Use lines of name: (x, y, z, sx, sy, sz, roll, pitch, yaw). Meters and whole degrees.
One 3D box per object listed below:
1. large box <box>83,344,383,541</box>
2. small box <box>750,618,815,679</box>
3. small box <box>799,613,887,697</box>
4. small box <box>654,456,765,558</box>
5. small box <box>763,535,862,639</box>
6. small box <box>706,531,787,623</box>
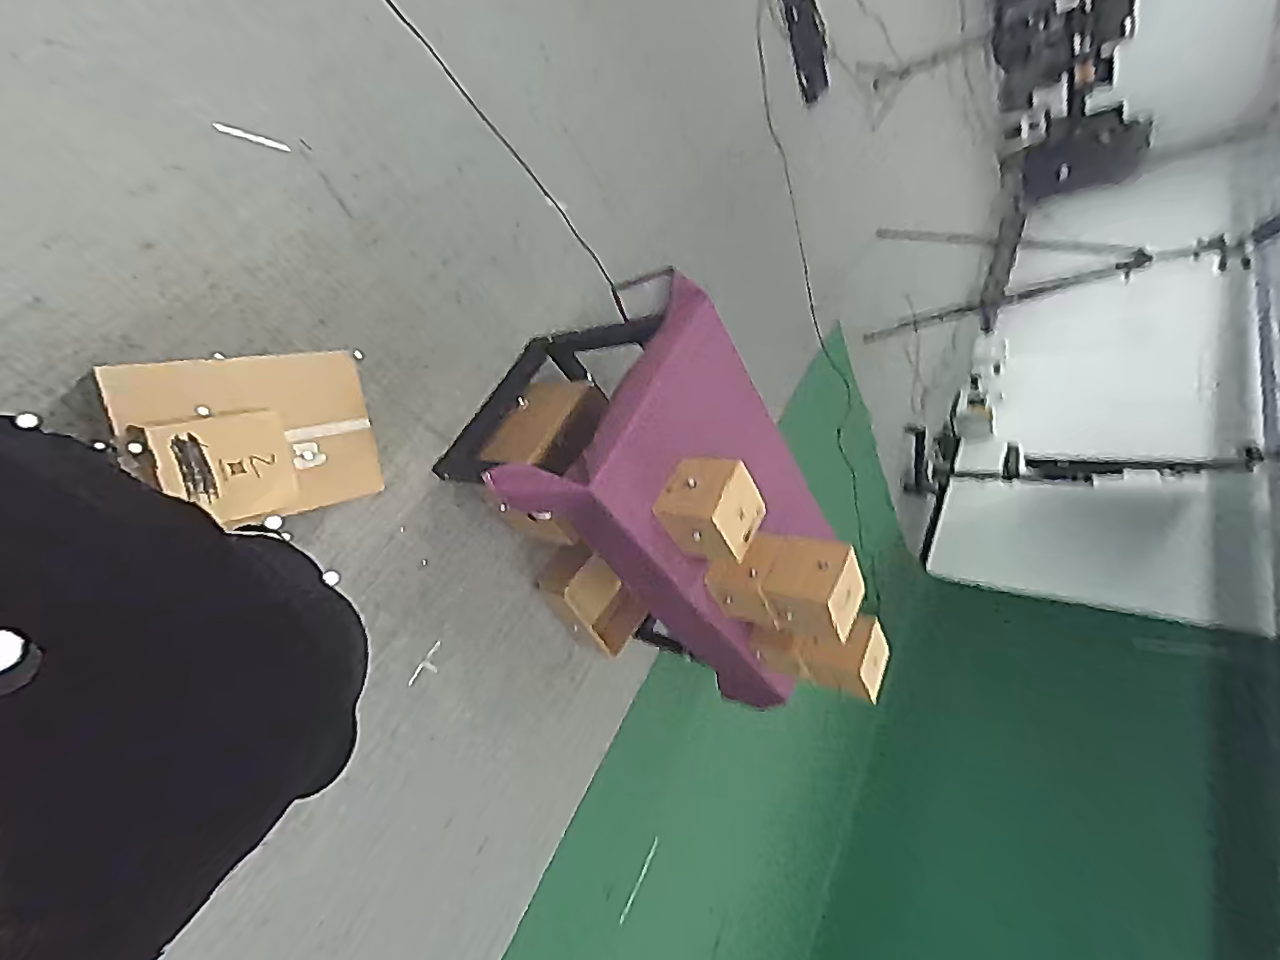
large box: (-0.835, -0.099, 1.138, 0.408, 0.320, 0.320, -21, 111, -46)
small box: (0.452, 0.464, 1.635, 0.168, 0.176, 0.179, 54, 56, -36)
small box: (0.575, 0.477, 1.530, 0.168, 0.176, 0.179, -57, 131, -28)
small box: (0.161, 0.059, 1.268, 0.168, 0.176, 0.179, -57, 131, -26)
small box: (0.429, 0.257, 1.343, 0.179, 0.176, 0.168, -52, 129, -30)
small box: (0.303, 0.248, 1.450, 0.179, 0.176, 0.168, -53, 129, -29)
